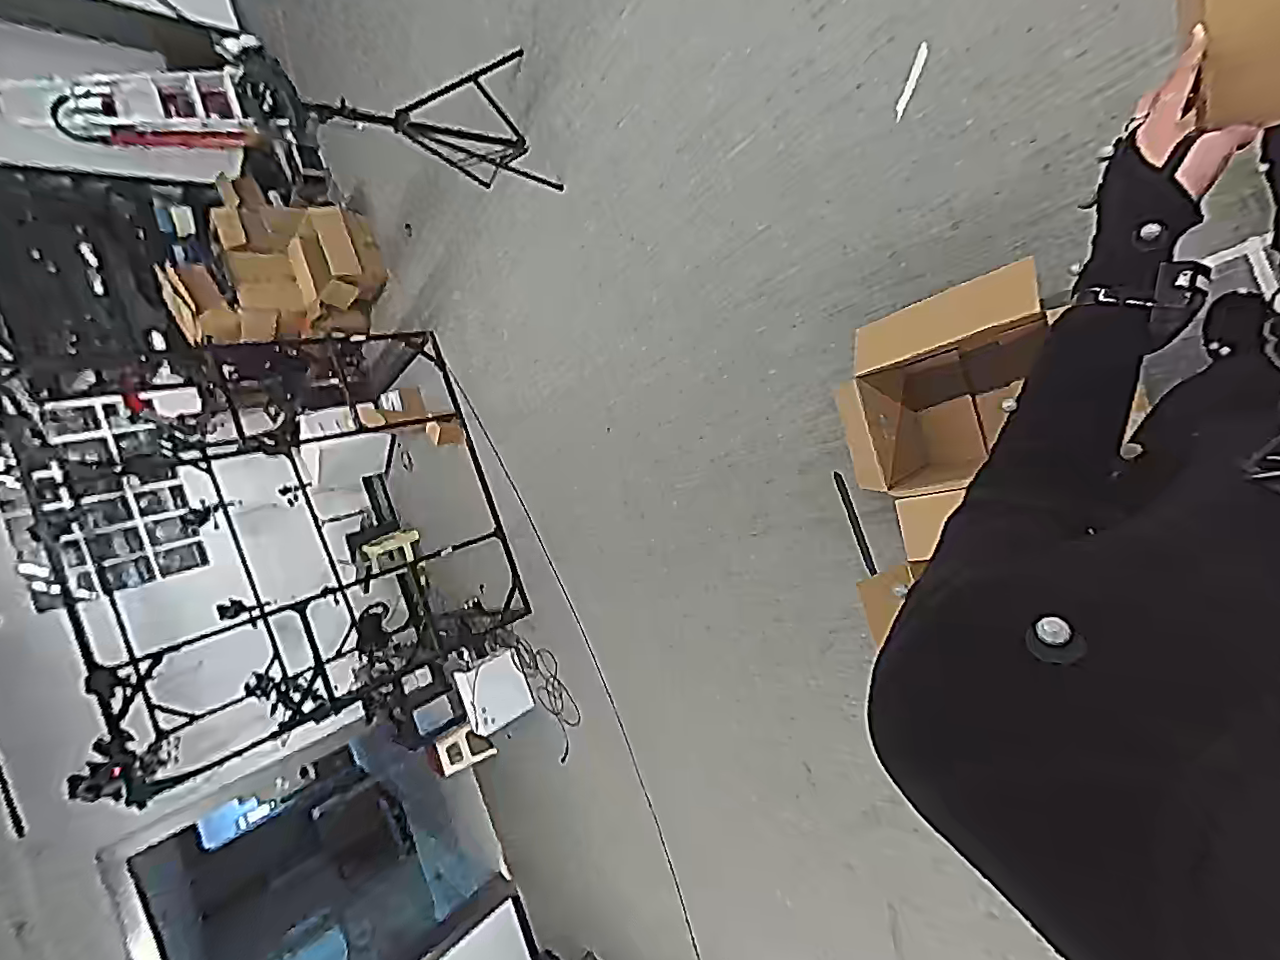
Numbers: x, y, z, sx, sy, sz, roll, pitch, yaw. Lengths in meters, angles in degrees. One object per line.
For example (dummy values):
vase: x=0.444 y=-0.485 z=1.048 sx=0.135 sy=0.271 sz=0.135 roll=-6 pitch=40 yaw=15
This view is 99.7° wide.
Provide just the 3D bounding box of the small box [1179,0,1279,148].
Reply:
small box: x=0.546 y=-0.398 z=0.420 sx=0.168 sy=0.176 sz=0.179 roll=-4 pitch=121 yaw=41
